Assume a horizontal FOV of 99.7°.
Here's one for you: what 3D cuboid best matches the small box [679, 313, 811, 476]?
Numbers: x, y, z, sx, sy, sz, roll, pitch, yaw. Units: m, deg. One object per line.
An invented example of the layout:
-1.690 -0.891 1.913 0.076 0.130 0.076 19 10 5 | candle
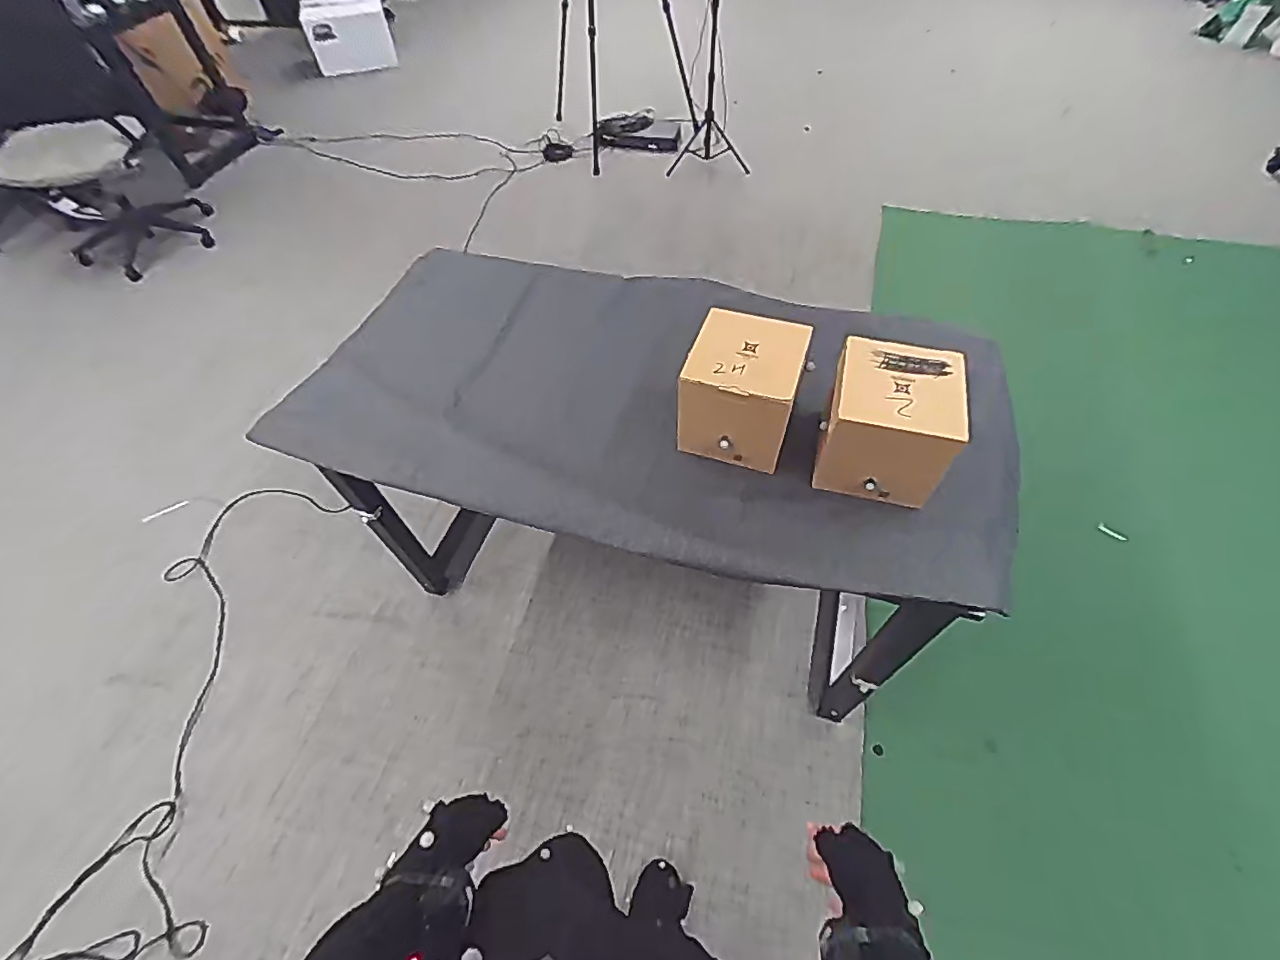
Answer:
0.163 -0.137 0.877 0.168 0.176 0.179 16 56 14 | small box
